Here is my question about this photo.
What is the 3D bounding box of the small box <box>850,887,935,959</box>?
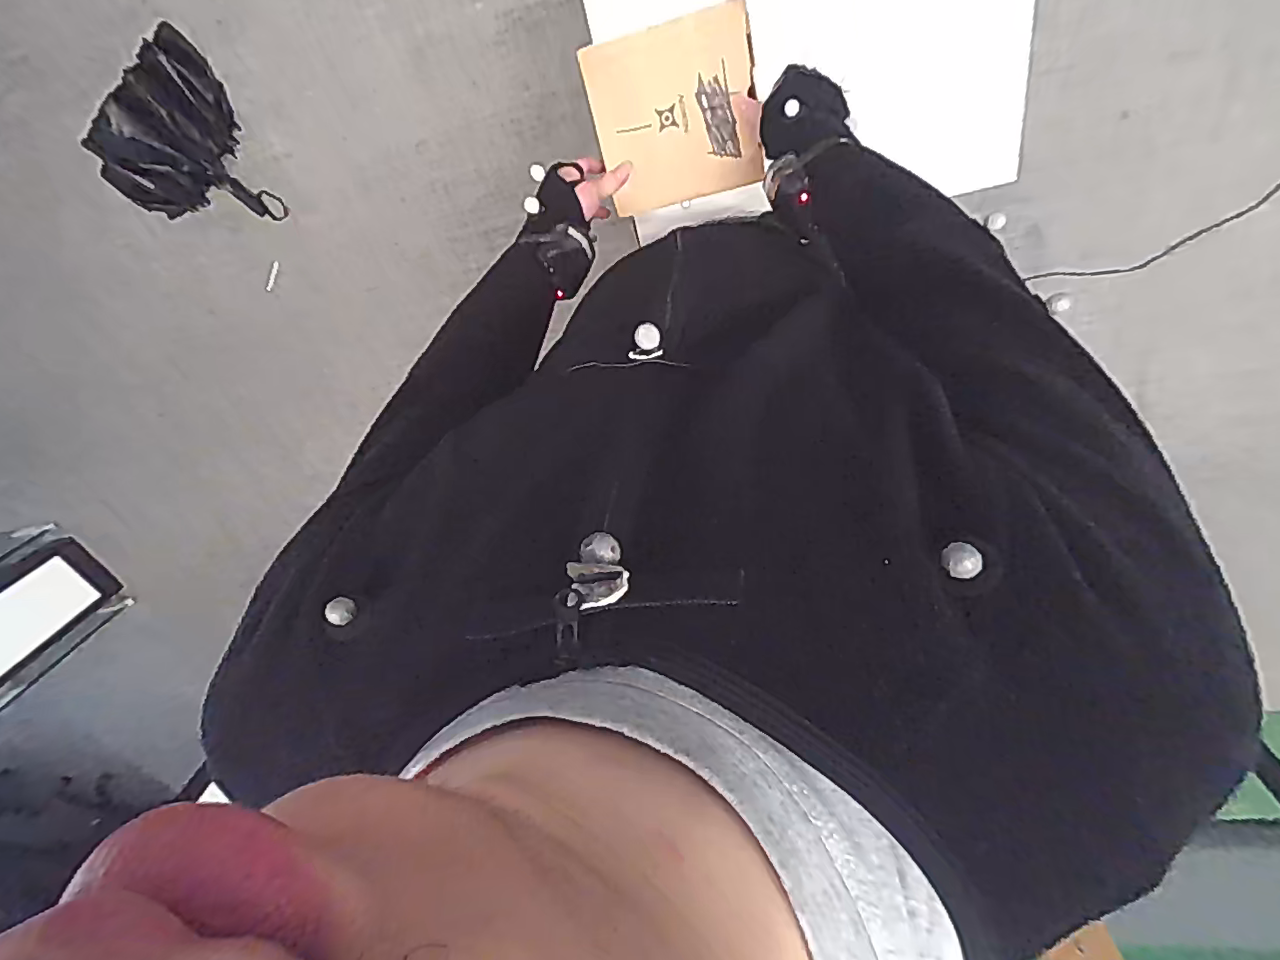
[{"bbox_3d":[0.715,1.297,1.547,0.179,0.176,0.168,-5,122,10],"label":"small box"}]
